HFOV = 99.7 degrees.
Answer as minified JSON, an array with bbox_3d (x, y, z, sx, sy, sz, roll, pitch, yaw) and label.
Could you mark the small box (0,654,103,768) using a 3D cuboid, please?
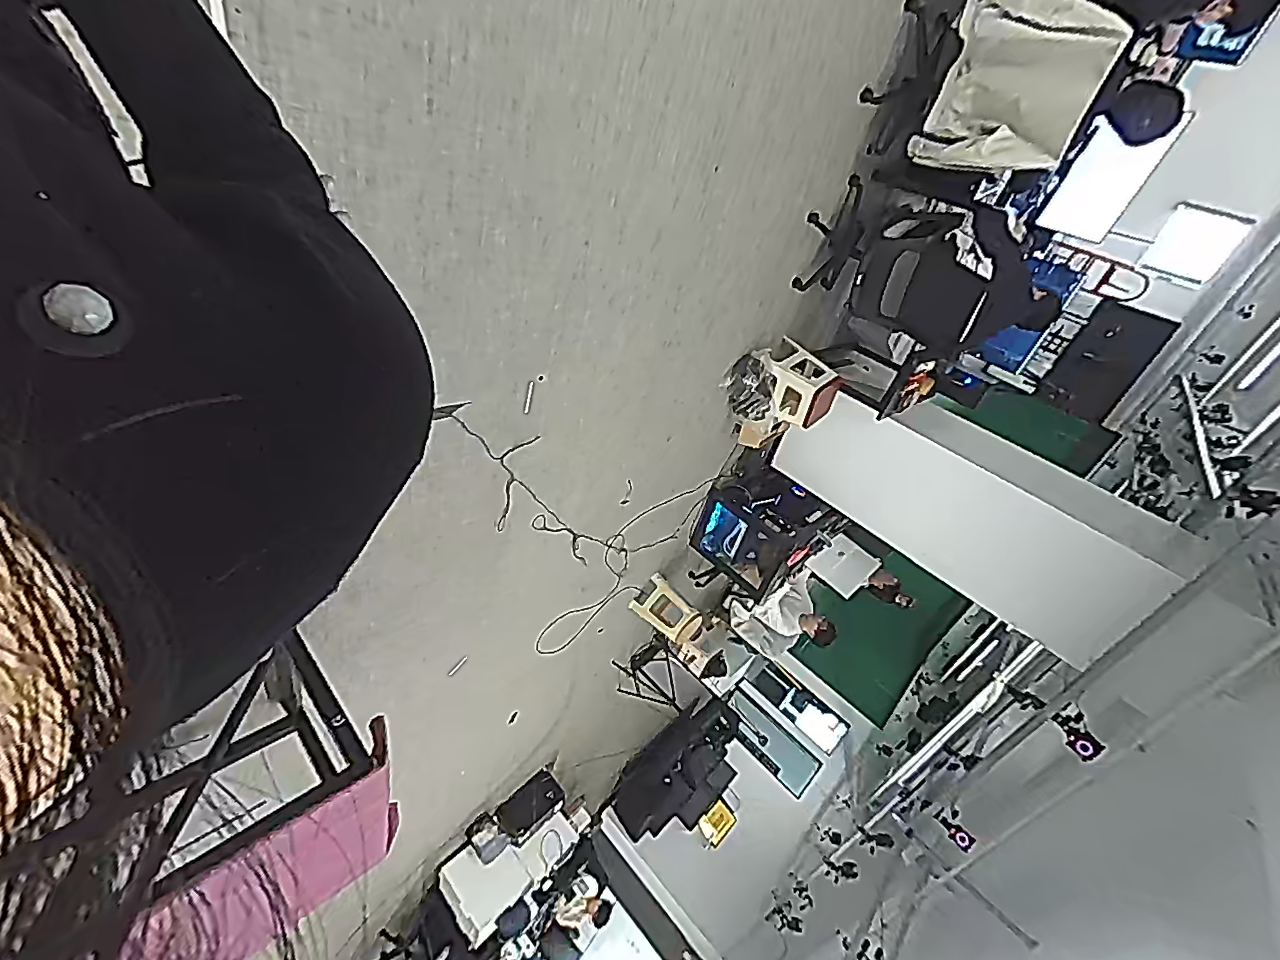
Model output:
[{"bbox_3d":[-1.541,0.590,1.400,0.168,0.176,0.179,-22,139,-44],"label":"small box"}]
